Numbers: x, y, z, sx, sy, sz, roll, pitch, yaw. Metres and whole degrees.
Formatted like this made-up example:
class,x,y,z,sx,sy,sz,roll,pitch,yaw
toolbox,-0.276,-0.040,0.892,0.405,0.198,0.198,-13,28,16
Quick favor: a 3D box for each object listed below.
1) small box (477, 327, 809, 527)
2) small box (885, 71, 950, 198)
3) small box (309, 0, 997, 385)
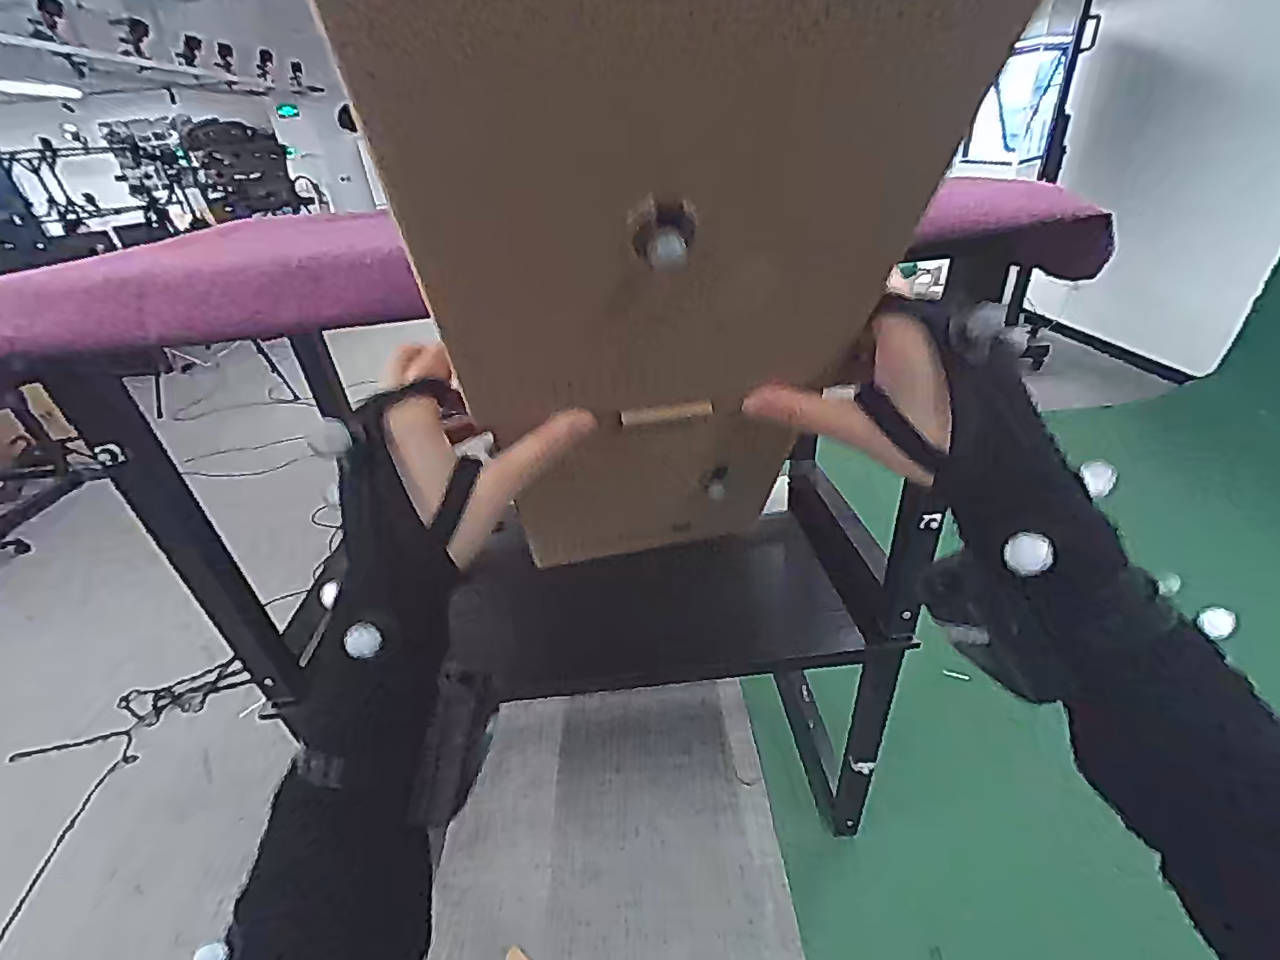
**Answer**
class,x,y,z,sx,sy,sz,roll,pitch,yaw
small box,-0.010,-0.080,0.367,0.168,0.176,0.179,-8,59,-7
small box,0.248,-0.433,0.647,0.168,0.176,0.179,-6,31,1
small box,-0.005,-0.159,0.220,0.179,0.176,0.168,-8,61,-6
